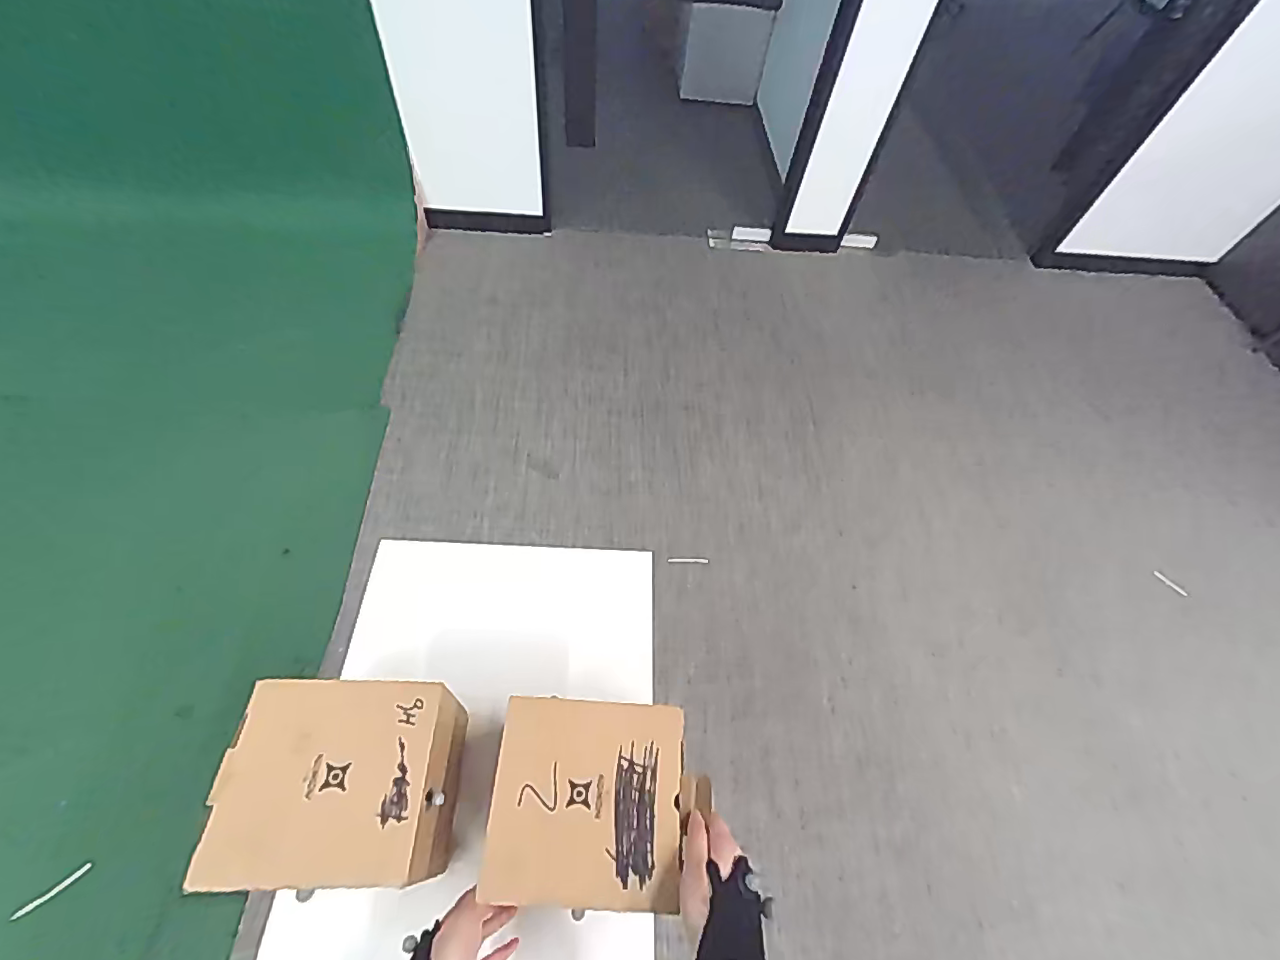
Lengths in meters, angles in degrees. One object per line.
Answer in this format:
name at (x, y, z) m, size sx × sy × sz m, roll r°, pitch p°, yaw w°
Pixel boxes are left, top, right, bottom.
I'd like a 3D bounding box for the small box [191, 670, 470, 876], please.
small box at (-0.287, 0.302, 0.554) m, size 0.179 × 0.176 × 0.168 m, roll 4°, pitch 56°, yaw -5°
